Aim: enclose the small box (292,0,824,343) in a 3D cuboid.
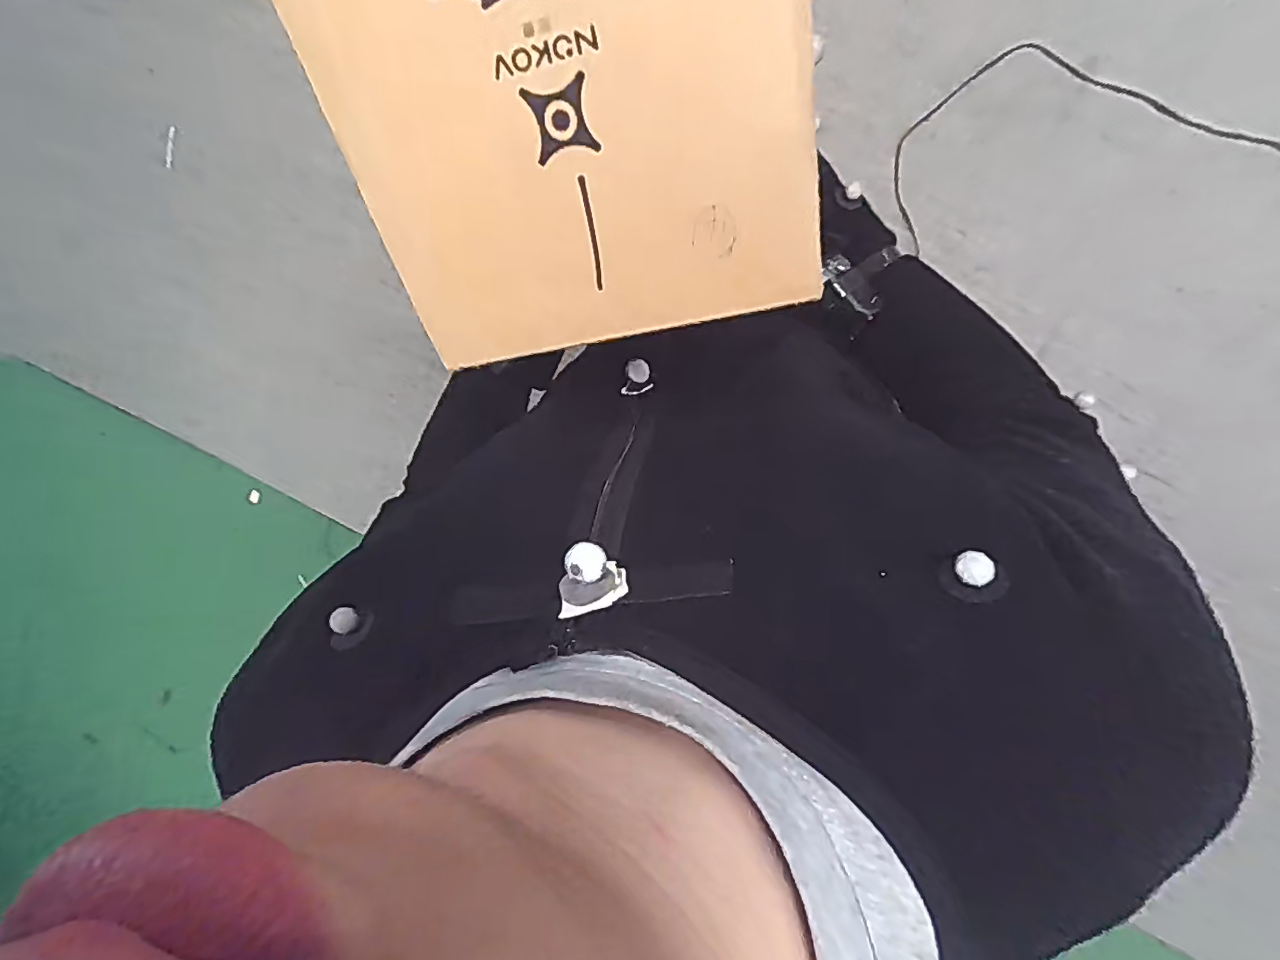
[{"bbox_3d":[-0.020,-0.186,0.244,0.168,0.176,0.179,-8,124,12],"label":"small box"}]
